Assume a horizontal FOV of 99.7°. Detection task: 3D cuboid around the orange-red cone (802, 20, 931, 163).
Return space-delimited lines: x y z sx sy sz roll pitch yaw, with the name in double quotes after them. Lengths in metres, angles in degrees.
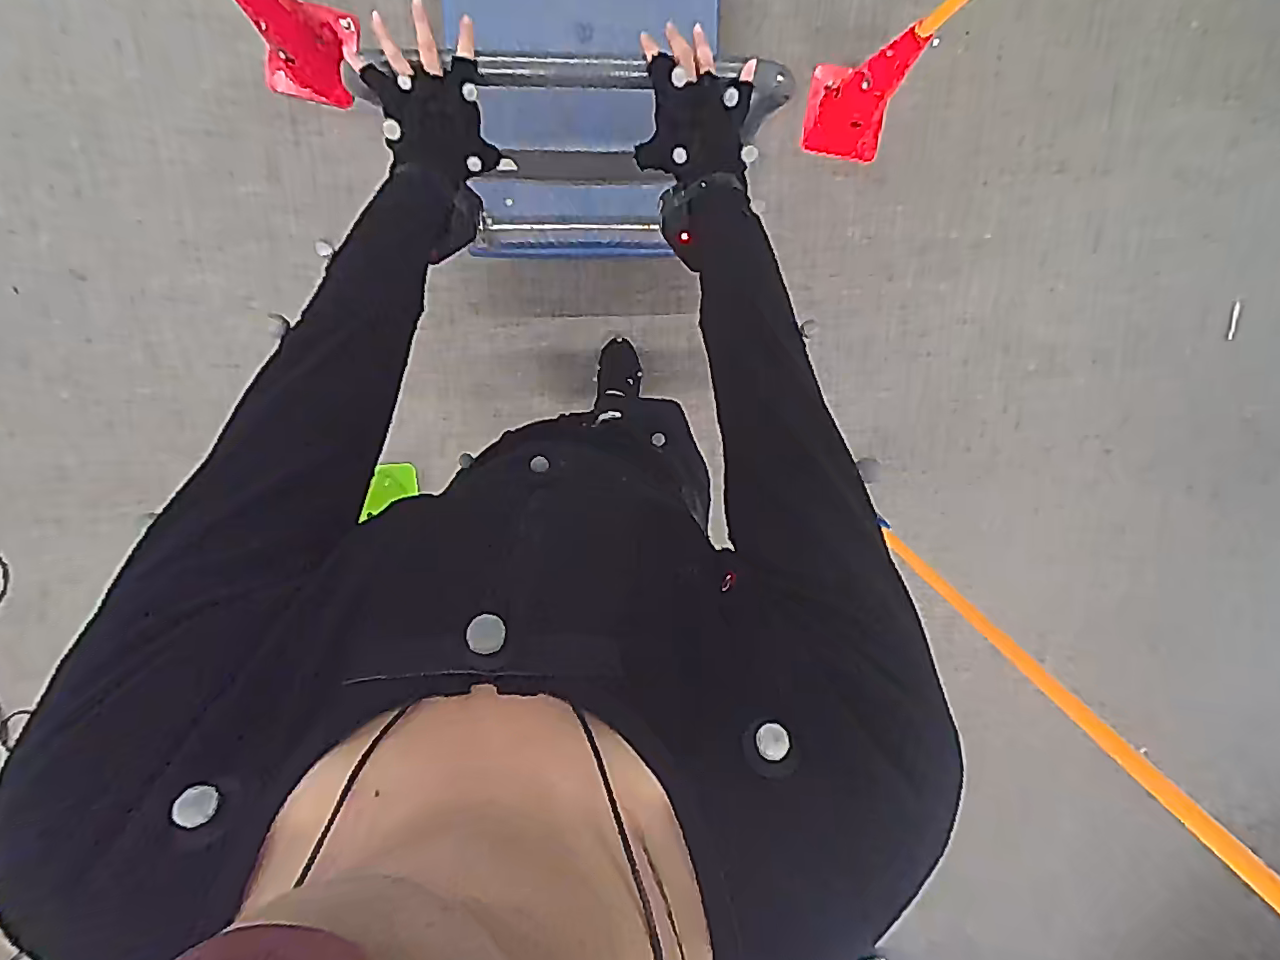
0.524 -0.879 1.187 0.198 0.360 0.199 9 102 -5 "orange-red cone"
